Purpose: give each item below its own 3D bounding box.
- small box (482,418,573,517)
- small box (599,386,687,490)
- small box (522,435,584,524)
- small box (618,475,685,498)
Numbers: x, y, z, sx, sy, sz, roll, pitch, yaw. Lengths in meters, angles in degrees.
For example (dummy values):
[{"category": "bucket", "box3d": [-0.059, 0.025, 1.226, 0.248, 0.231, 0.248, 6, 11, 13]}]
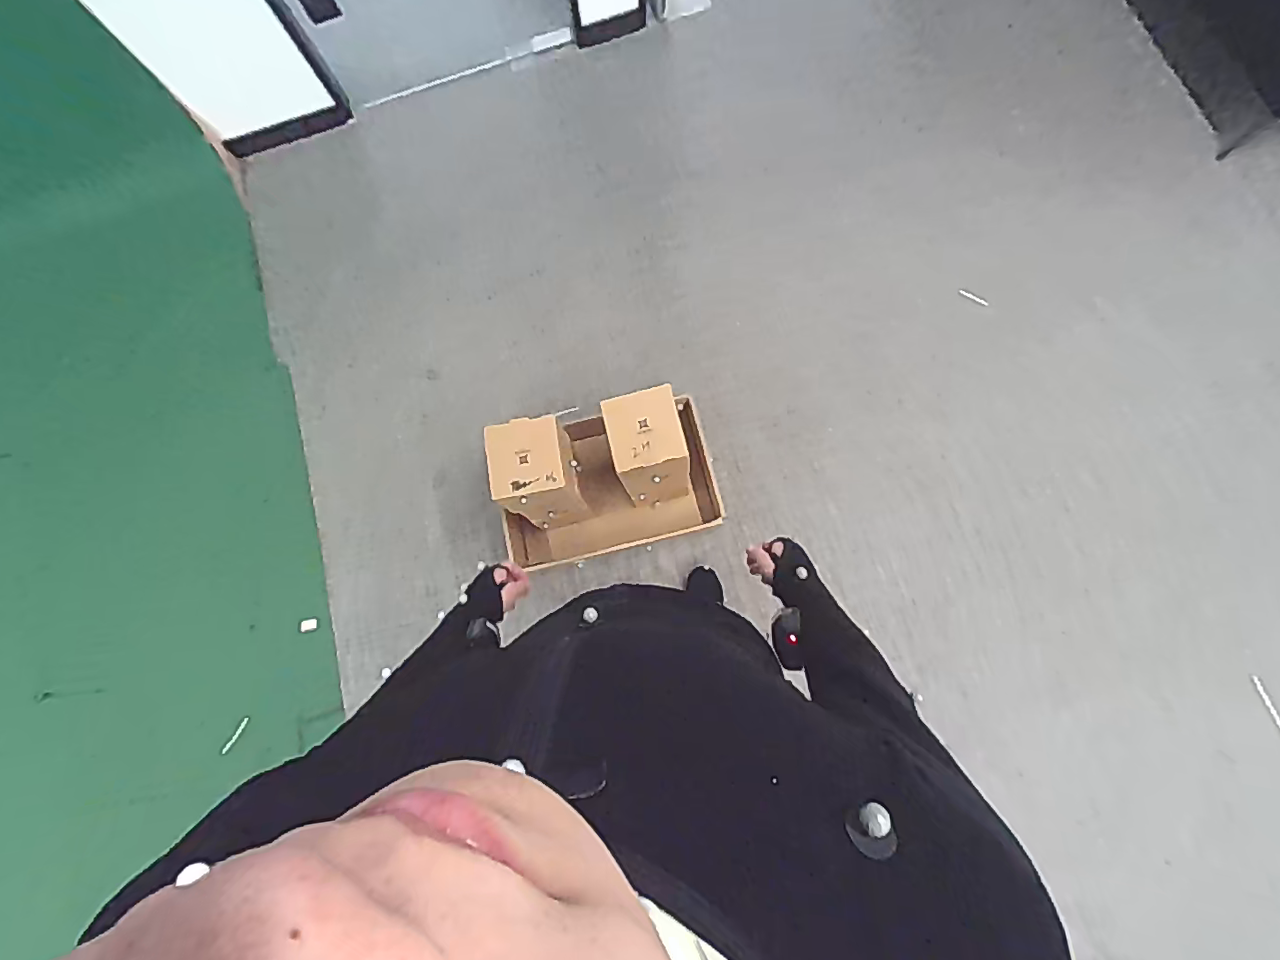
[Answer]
[{"category": "small box", "box3d": [-0.258, -0.024, 1.265, 0.168, 0.176, 0.179, -10, 75, 0]}, {"category": "small box", "box3d": [0.010, -0.092, 1.265, 0.168, 0.176, 0.179, -14, 77, 2]}, {"category": "small box", "box3d": [-0.252, 0.004, 1.428, 0.168, 0.176, 0.179, -13, 76, -1]}, {"category": "small box", "box3d": [0.023, -0.058, 1.426, 0.168, 0.176, 0.179, -12, 75, 2]}]
